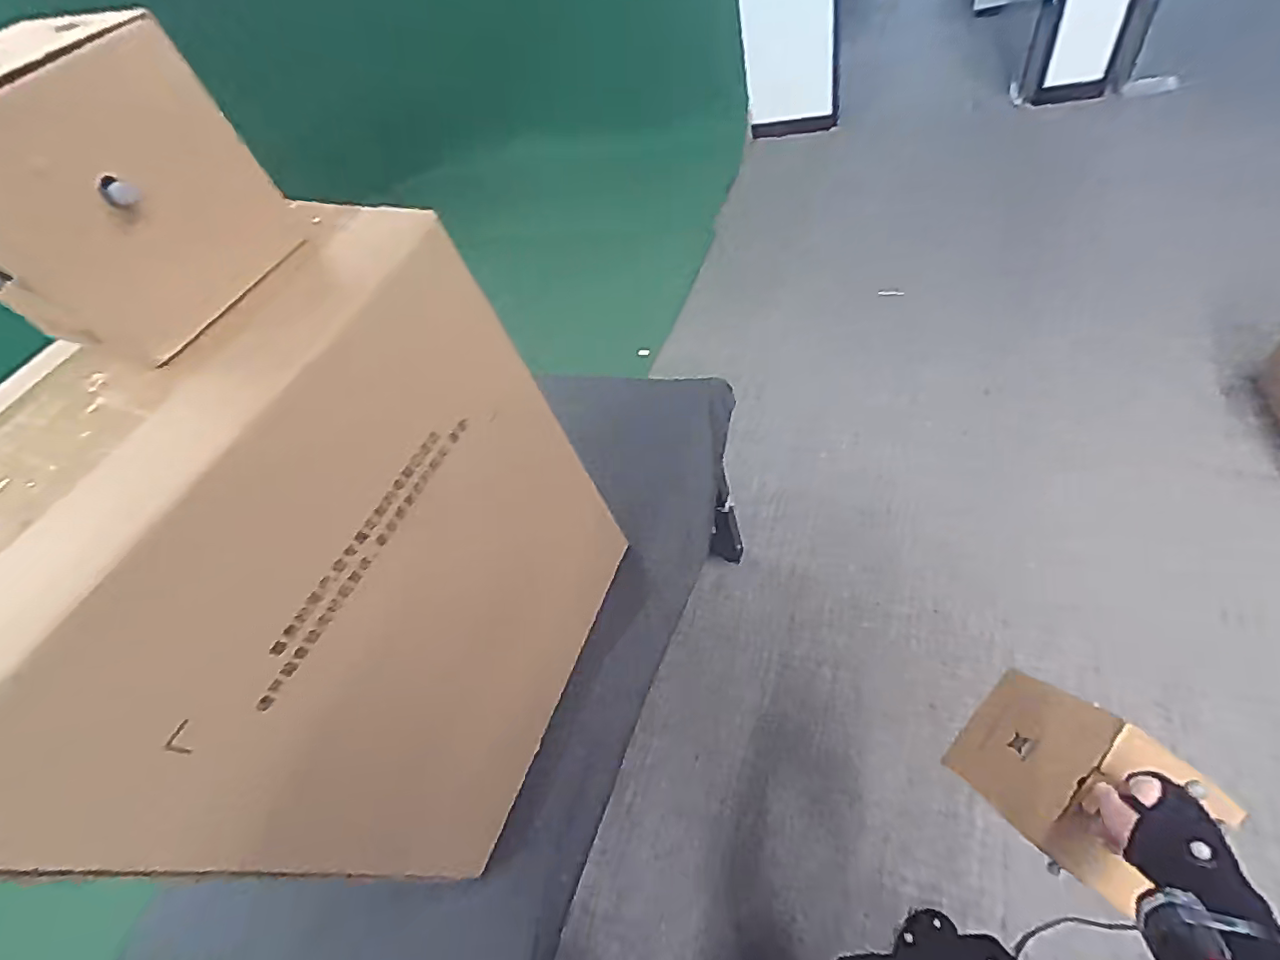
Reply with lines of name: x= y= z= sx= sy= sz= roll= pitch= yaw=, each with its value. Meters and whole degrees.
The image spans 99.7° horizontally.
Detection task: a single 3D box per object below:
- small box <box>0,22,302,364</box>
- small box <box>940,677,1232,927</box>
small box: x=-0.421 y=-0.216 z=0.423 sx=0.168 sy=0.176 sz=0.179 roll=15 pitch=61 yaw=20
small box: x=0.521 y=0.378 z=0.649 sx=0.176 sy=0.179 sz=0.168 roll=40 pitch=87 yaw=0
